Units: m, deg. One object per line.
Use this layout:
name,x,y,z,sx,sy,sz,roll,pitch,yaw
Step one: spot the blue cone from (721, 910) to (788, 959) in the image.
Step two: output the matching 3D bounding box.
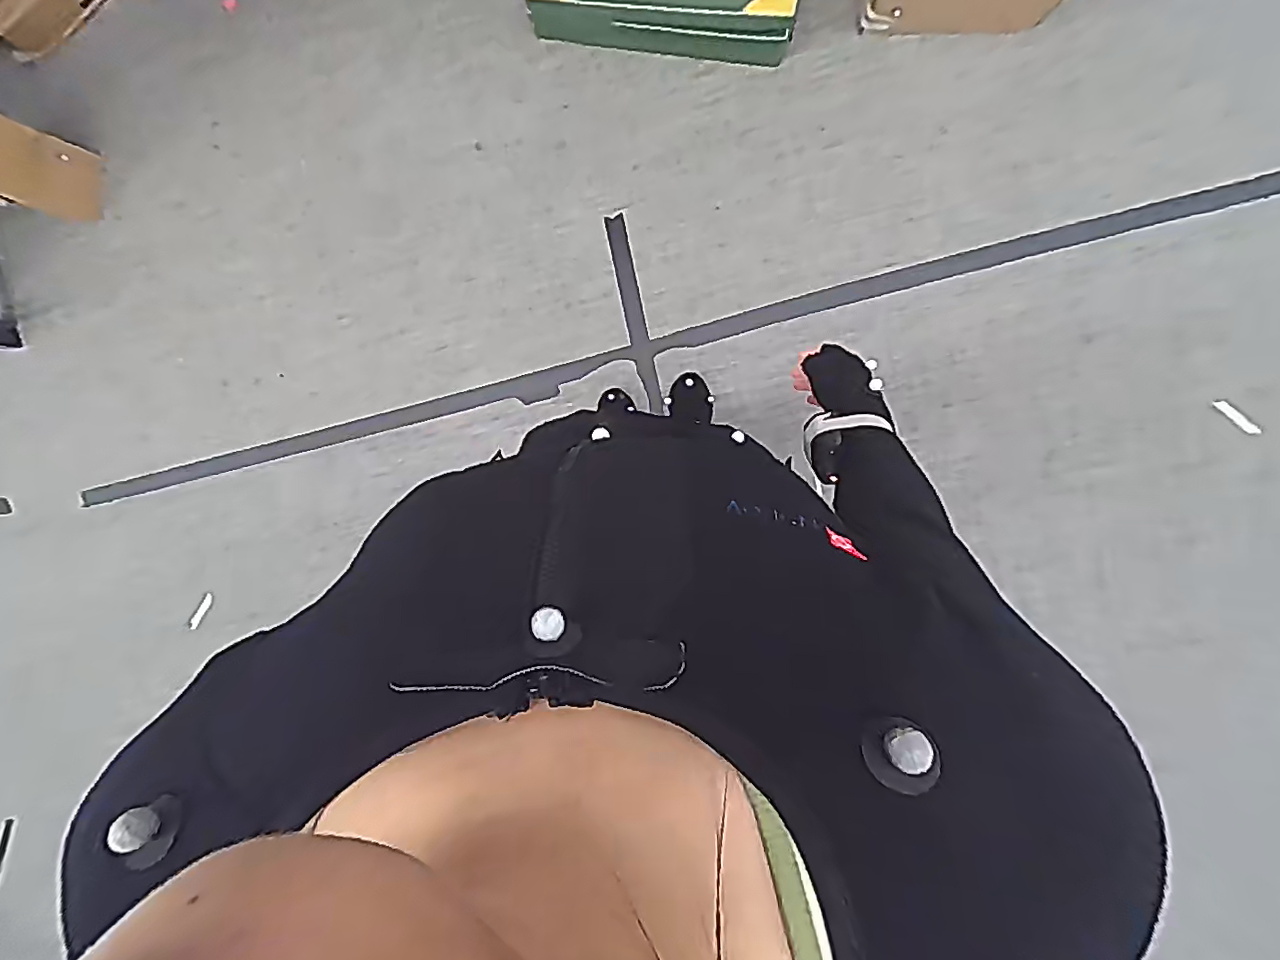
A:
blue cone,0.343,1.453,1.520,0.193,0.380,0.192,-9,100,7
